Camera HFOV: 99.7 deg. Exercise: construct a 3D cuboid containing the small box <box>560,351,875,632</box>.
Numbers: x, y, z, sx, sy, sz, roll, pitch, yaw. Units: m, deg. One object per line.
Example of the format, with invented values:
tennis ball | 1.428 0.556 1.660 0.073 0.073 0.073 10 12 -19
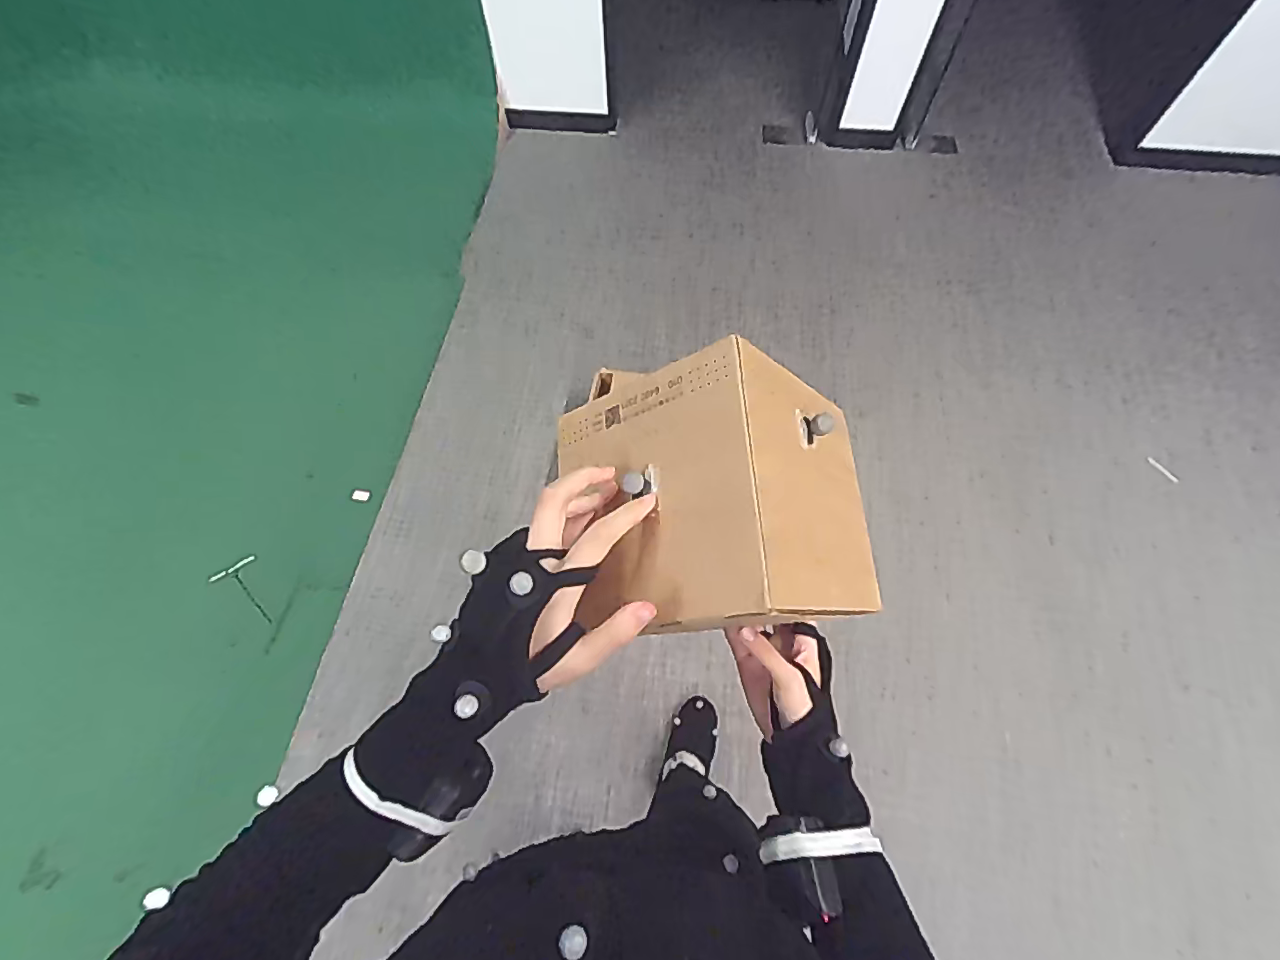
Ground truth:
small box | 0.055 0.022 0.413 0.168 0.179 0.176 -17 68 39
